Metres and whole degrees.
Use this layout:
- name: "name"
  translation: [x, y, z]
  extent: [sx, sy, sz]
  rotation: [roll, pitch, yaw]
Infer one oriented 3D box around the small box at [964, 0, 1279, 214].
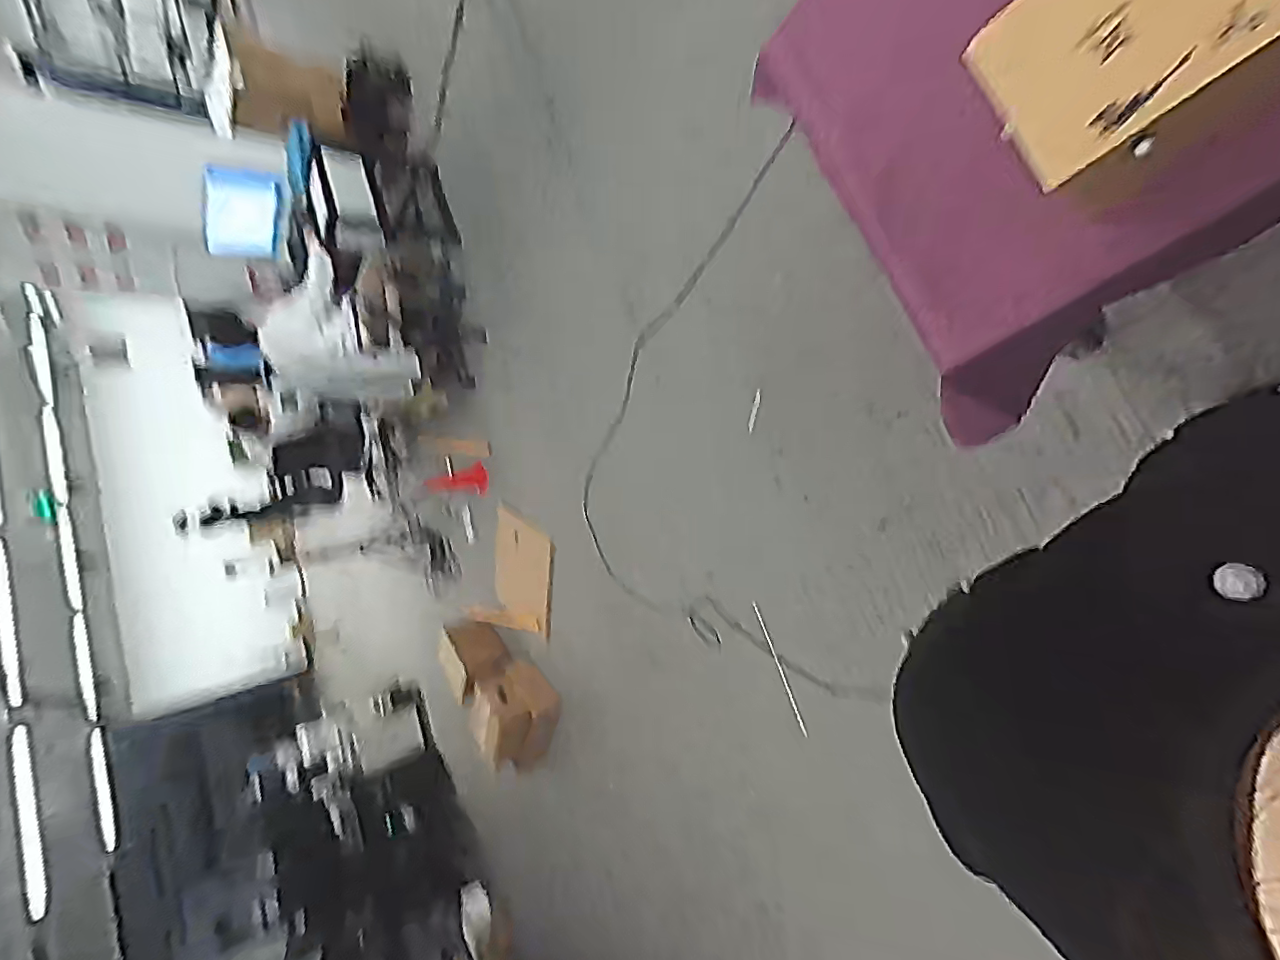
- name: "small box"
  translation: [0.455, -0.390, 0.517]
  extent: [0.168, 0.176, 0.179]
  rotation: [-33, 72, 48]
